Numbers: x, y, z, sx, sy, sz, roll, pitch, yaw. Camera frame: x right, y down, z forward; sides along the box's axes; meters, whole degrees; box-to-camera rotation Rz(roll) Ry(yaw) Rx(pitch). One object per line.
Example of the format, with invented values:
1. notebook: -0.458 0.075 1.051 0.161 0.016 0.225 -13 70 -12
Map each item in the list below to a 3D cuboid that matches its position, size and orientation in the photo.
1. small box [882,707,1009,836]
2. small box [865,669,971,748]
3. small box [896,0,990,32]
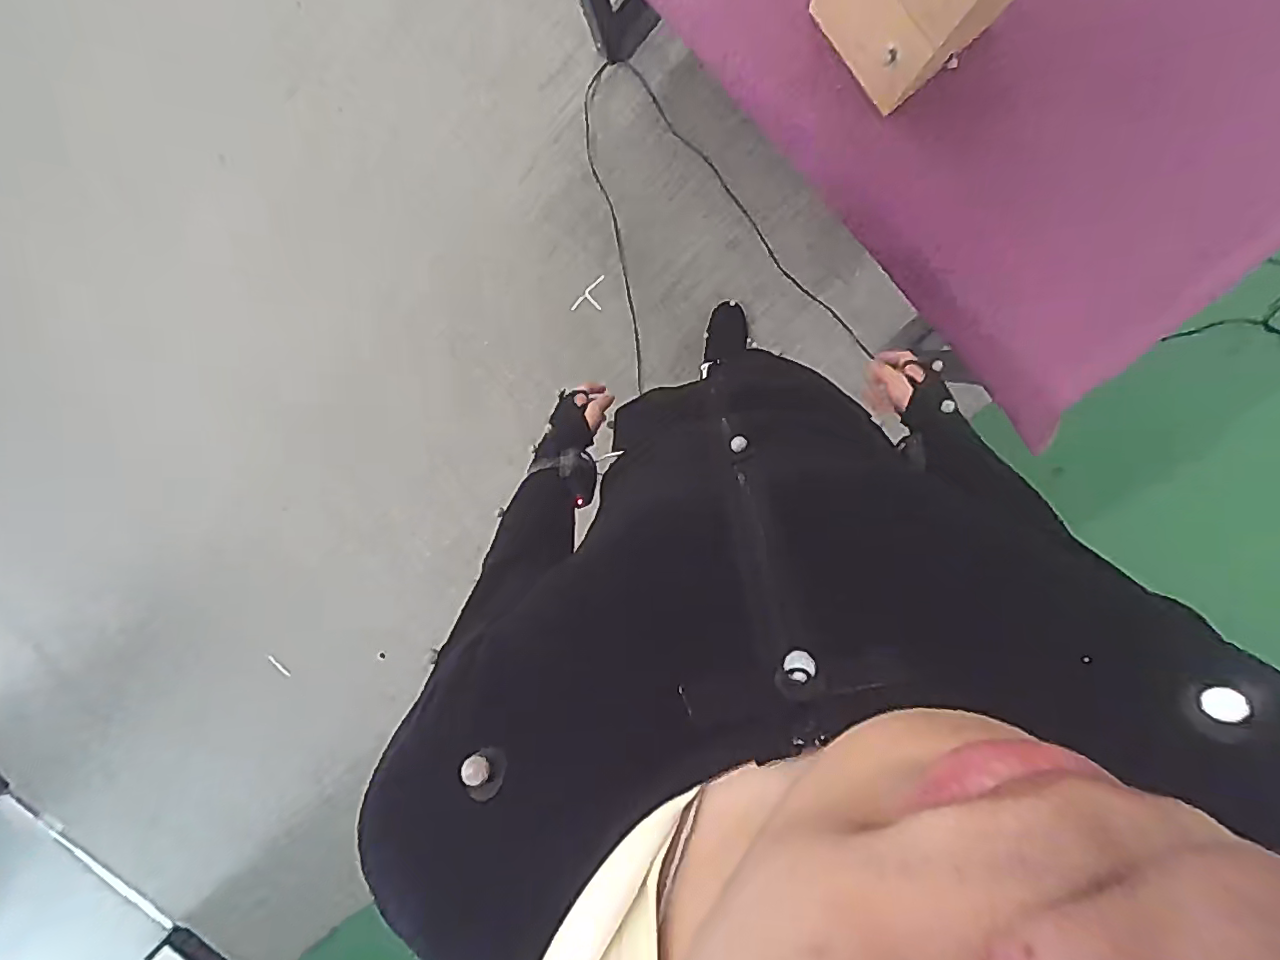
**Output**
1. small box: 0.719 0.689 1.297 0.168 0.176 0.179 42 105 -3
2. small box: 0.735 0.654 1.457 0.168 0.176 0.179 44 103 -4
3. small box: 0.316 -0.556 0.480 0.168 0.176 0.179 -39 96 13
